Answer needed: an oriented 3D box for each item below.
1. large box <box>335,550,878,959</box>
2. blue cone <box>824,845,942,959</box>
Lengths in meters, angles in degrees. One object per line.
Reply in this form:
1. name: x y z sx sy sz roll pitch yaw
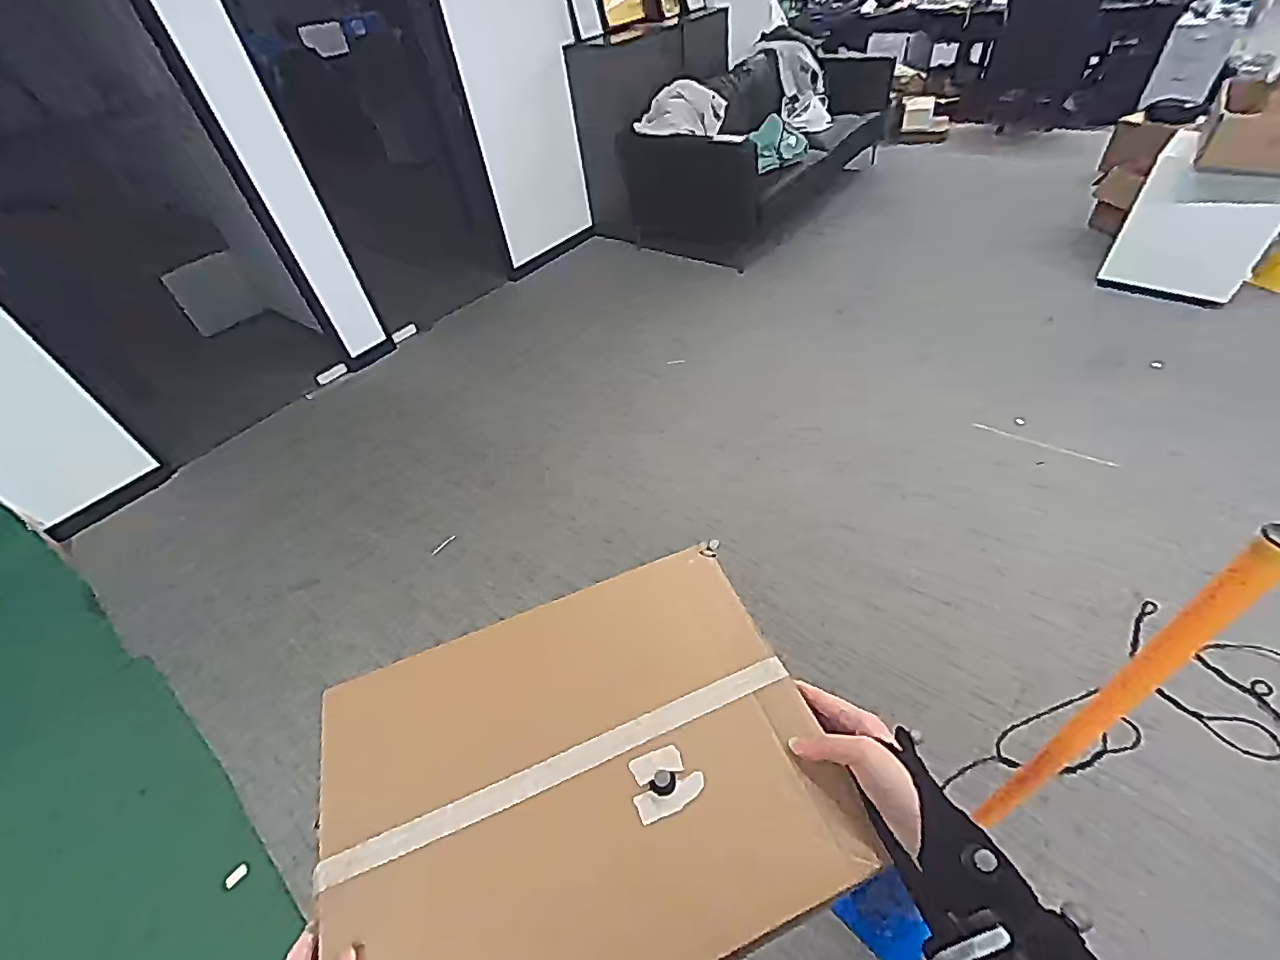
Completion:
1. large box: -0.045 0.343 0.570 0.408 0.320 0.320 -19 48 -12
2. blue cone: 0.503 0.797 1.044 0.192 0.380 0.193 -36 50 -25
